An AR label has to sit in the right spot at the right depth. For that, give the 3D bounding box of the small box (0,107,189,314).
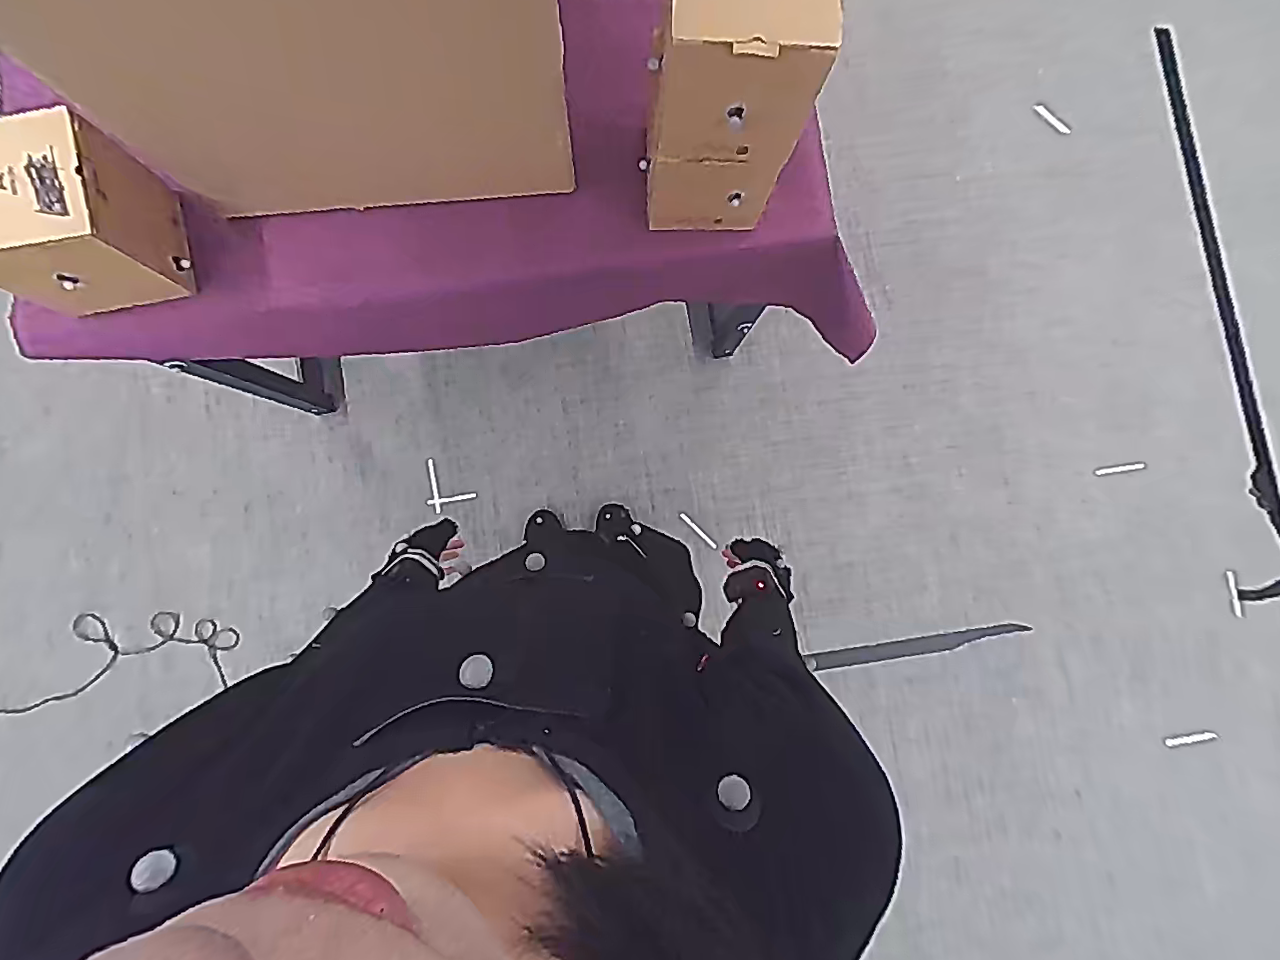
[{"bbox_3d":[-0.740,-0.339,0.708,0.179,0.176,0.168,-13,85,-5],"label":"small box"}]

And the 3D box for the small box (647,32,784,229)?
[{"bbox_3d":[0.097,-0.477,0.762,0.168,0.176,0.179,-1,85,-3],"label":"small box"}]

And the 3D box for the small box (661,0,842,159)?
[{"bbox_3d":[0.113,-0.491,0.600,0.168,0.176,0.179,3,86,-2],"label":"small box"}]
